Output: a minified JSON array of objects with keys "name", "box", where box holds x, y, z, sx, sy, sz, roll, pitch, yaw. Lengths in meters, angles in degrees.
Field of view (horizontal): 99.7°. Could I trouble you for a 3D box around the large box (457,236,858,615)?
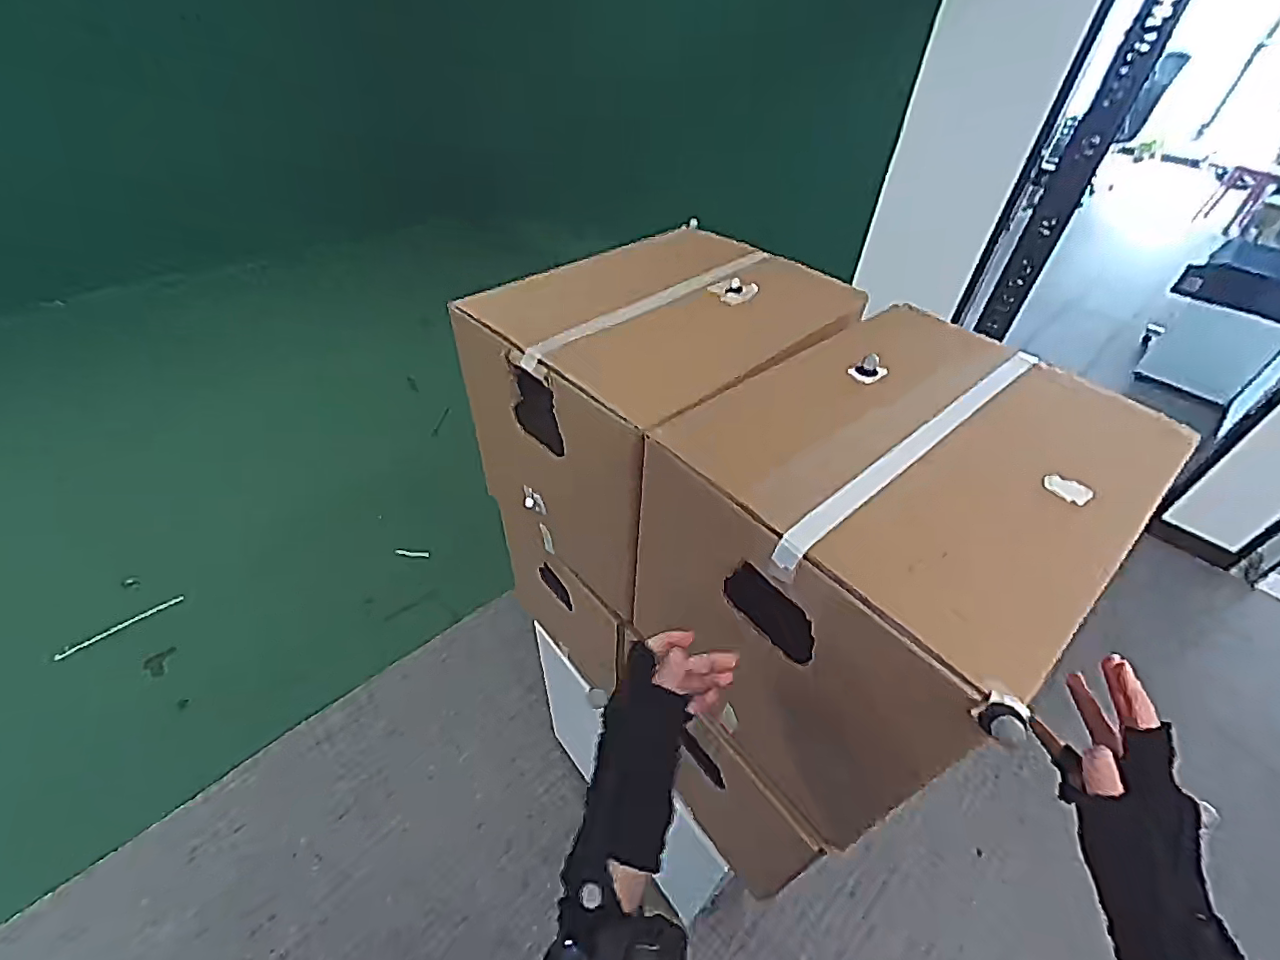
[{"name":"large box","box":[0.026,-0.100,0.748,0.408,0.320,0.320,-32,54,-32]}]
